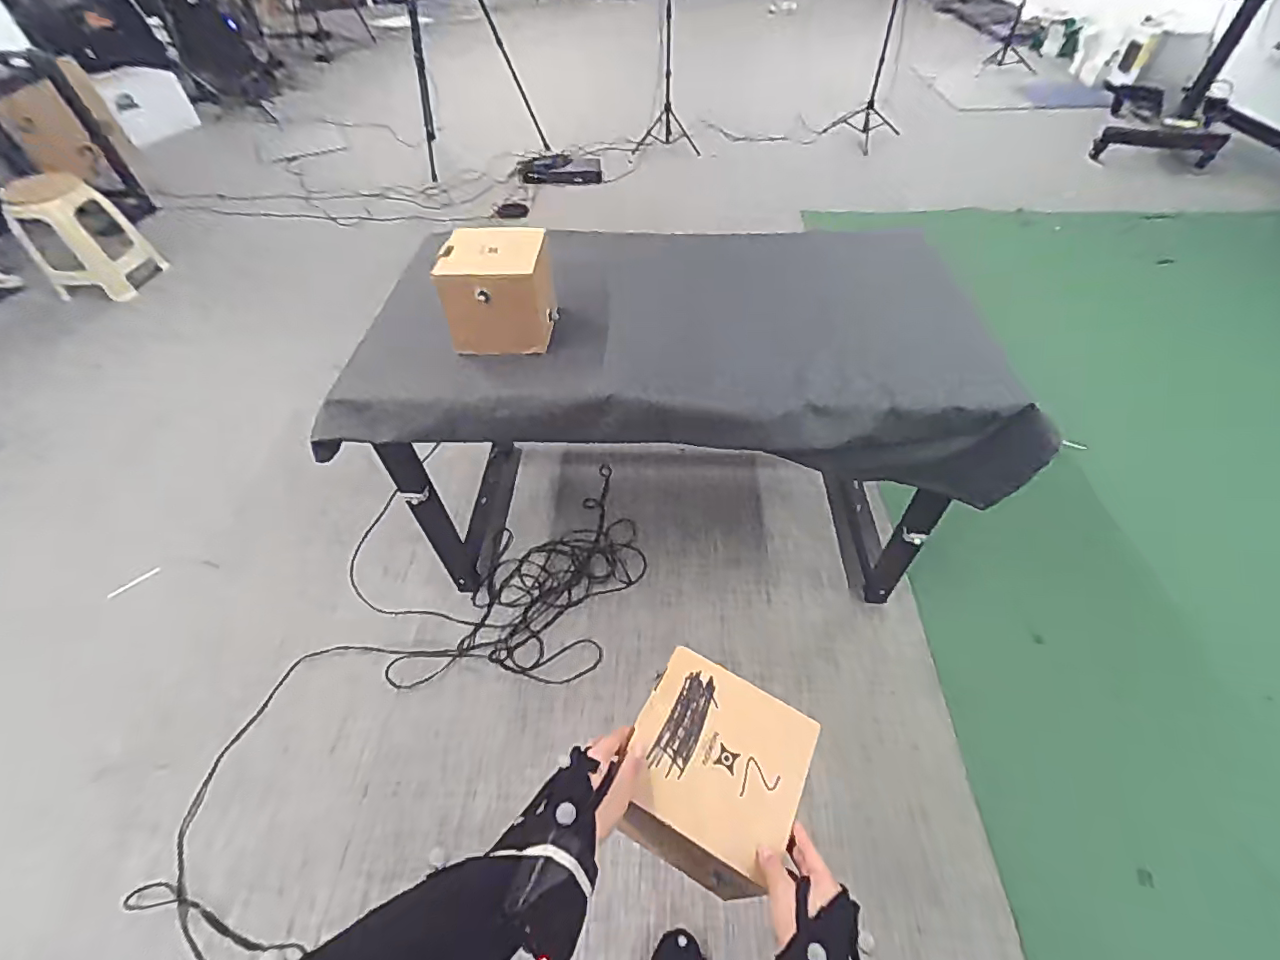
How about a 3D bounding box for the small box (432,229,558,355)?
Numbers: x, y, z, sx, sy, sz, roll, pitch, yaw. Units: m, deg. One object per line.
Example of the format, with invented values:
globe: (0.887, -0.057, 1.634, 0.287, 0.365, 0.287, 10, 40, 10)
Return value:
small box: (-0.260, -0.351, 1.015, 0.179, 0.176, 0.168, 1, 51, 1)
